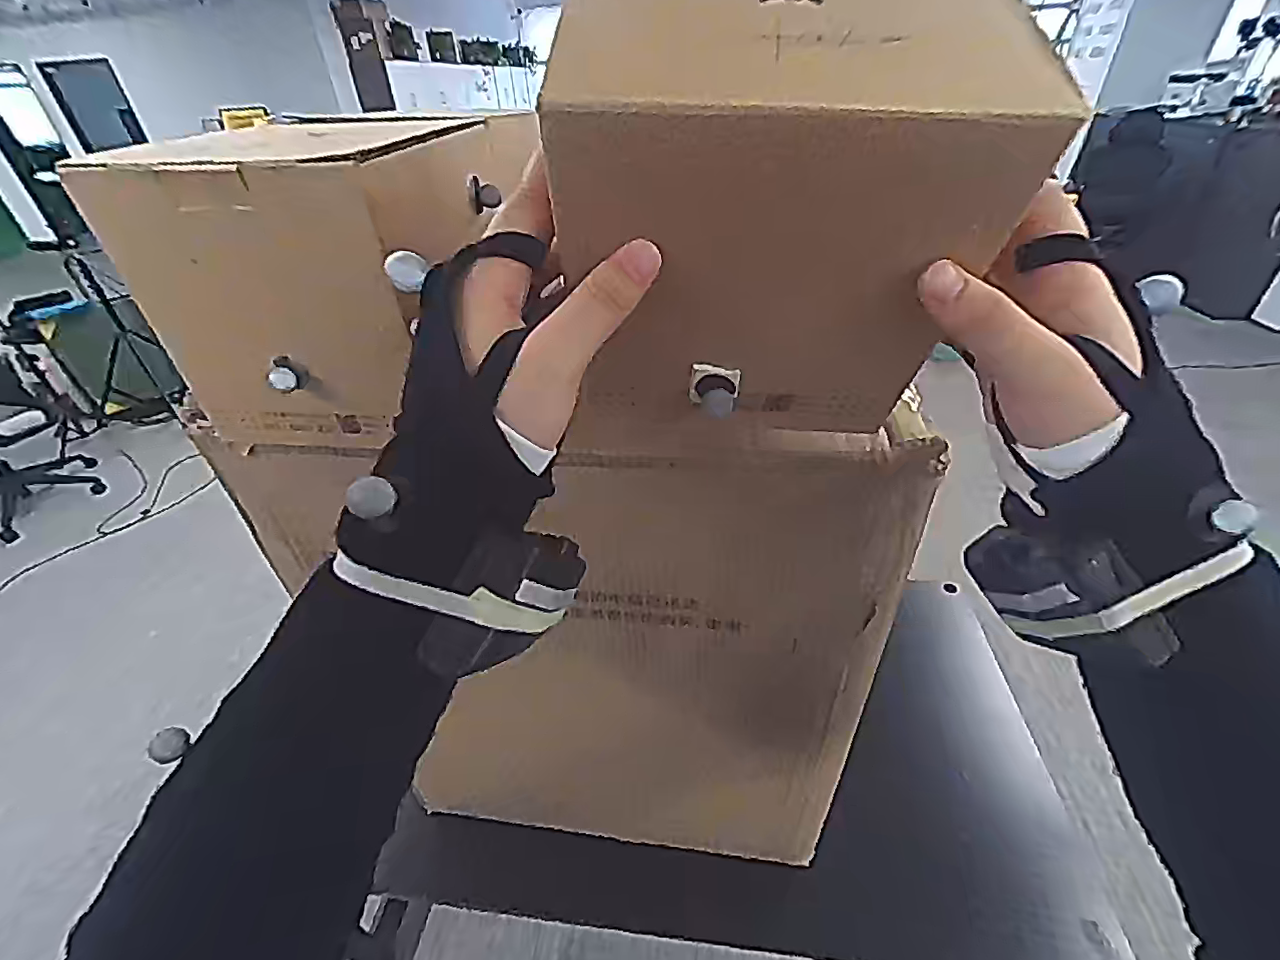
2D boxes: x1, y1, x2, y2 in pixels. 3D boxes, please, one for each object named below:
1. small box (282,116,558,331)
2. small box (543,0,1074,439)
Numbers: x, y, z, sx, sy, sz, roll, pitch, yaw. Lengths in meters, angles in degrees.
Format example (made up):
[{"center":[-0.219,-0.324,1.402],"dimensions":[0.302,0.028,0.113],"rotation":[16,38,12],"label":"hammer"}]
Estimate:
[{"center":[-0.192,-0.255,0.534],"dimensions":[0.179,0.176,0.168],"rotation":[4,36,8],"label":"small box"},{"center":[0.055,-0.142,0.277],"dimensions":[0.168,0.176,0.179],"rotation":[1,60,2],"label":"small box"}]
